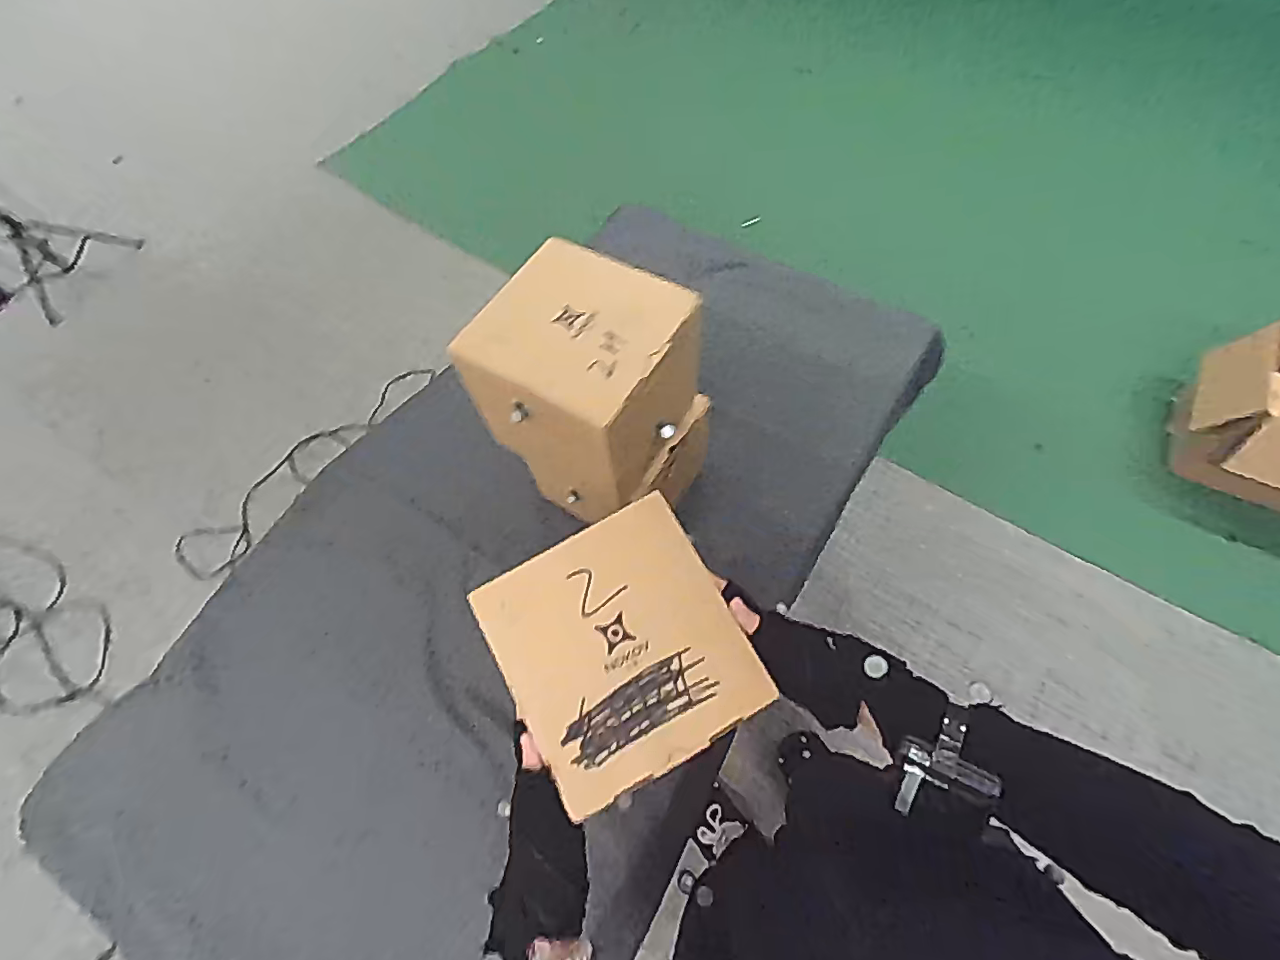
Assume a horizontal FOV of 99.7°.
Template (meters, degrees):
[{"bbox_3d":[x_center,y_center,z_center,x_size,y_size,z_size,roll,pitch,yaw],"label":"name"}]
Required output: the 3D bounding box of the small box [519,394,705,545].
[{"bbox_3d":[-0.031,-0.034,0.710,0.179,0.176,0.168,29,69,17],"label":"small box"}]

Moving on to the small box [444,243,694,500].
[{"bbox_3d":[-0.060,-0.104,0.563,0.179,0.176,0.168,28,69,15],"label":"small box"}]
